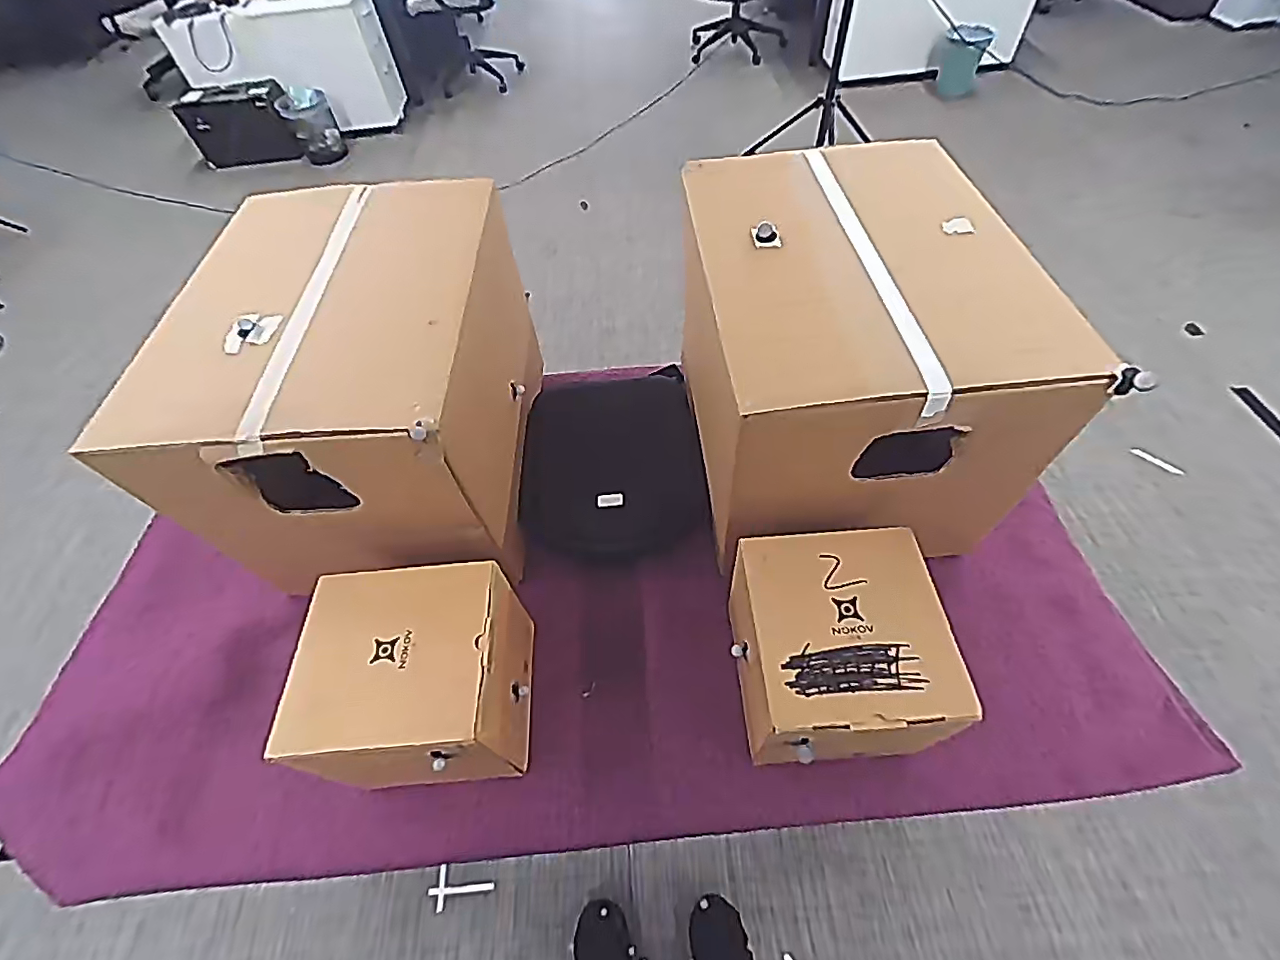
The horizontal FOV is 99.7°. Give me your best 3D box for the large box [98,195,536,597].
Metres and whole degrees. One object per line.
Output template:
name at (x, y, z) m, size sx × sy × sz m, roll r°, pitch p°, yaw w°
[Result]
large box at (-0.321, -0.100, 0.692) m, size 0.320 × 0.320 × 0.408 m, roll -5°, pitch 57°, yaw 2°
